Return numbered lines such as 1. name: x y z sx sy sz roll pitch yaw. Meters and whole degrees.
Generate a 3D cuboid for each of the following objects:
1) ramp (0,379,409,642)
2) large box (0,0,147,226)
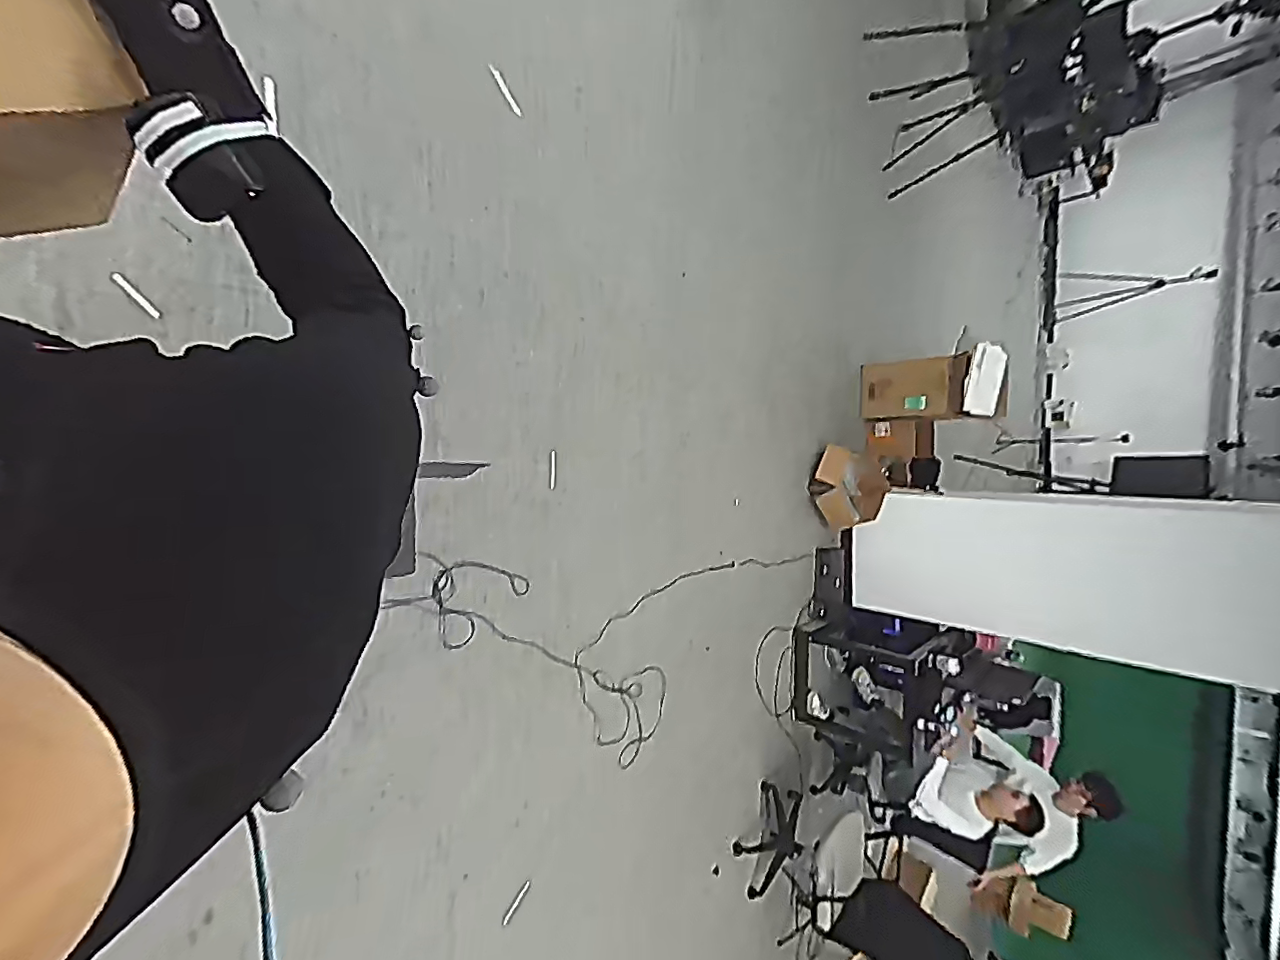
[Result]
1. ramp: -1.001 0.043 1.255 0.991 0.206 0.509 -5 94 -46
2. large box: -0.603 -0.308 0.278 0.408 0.320 0.320 -38 121 -41
